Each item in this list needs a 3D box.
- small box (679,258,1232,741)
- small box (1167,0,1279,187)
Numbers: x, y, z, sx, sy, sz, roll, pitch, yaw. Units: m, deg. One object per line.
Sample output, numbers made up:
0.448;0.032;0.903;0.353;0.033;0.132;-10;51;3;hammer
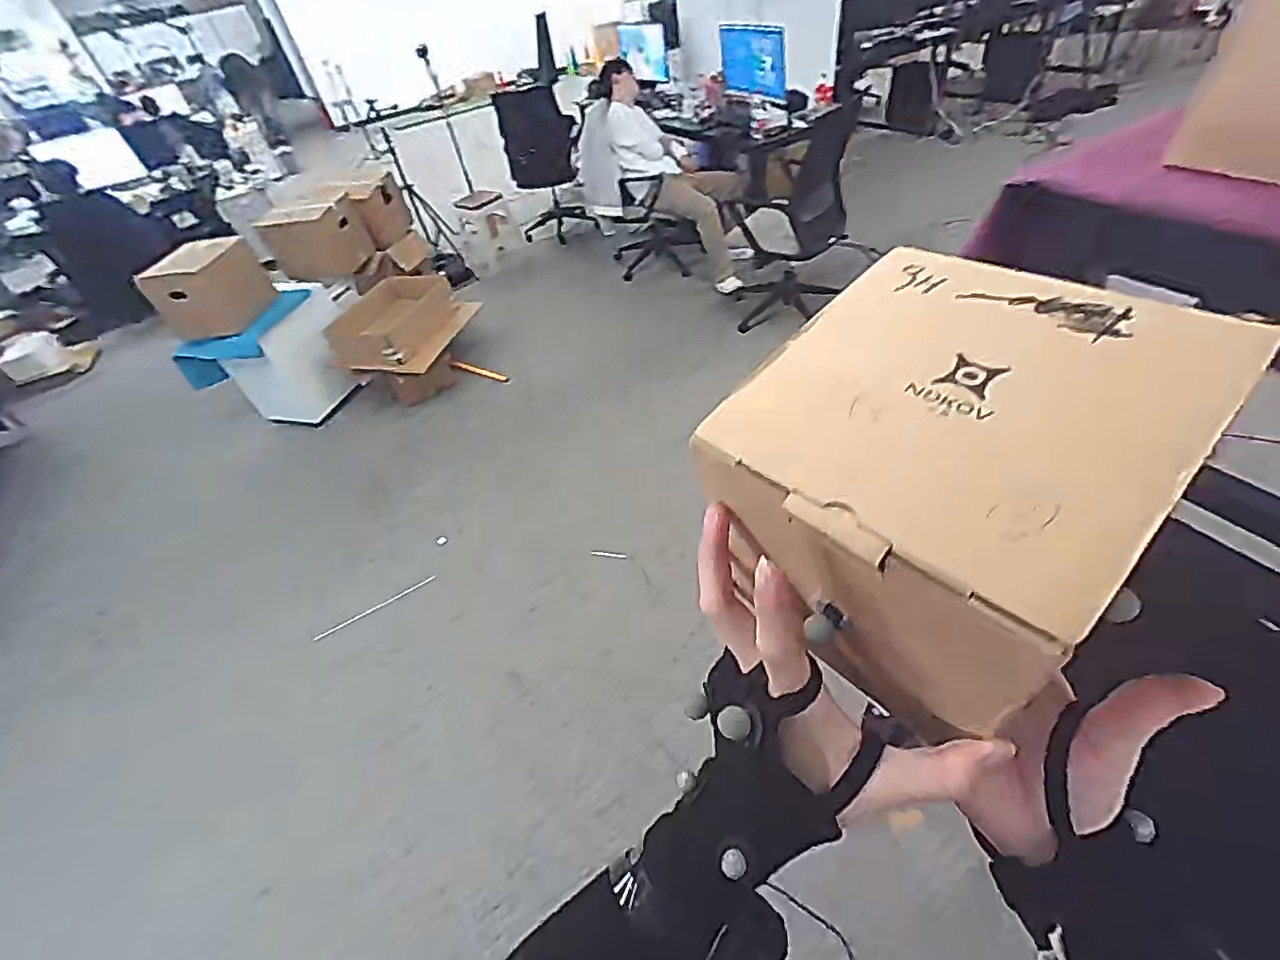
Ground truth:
0.153;0.010;0.306;0.179;0.176;0.168;-42;51;-16;small box
0.511;-0.289;0.344;0.168;0.176;0.179;-28;46;-16;small box
